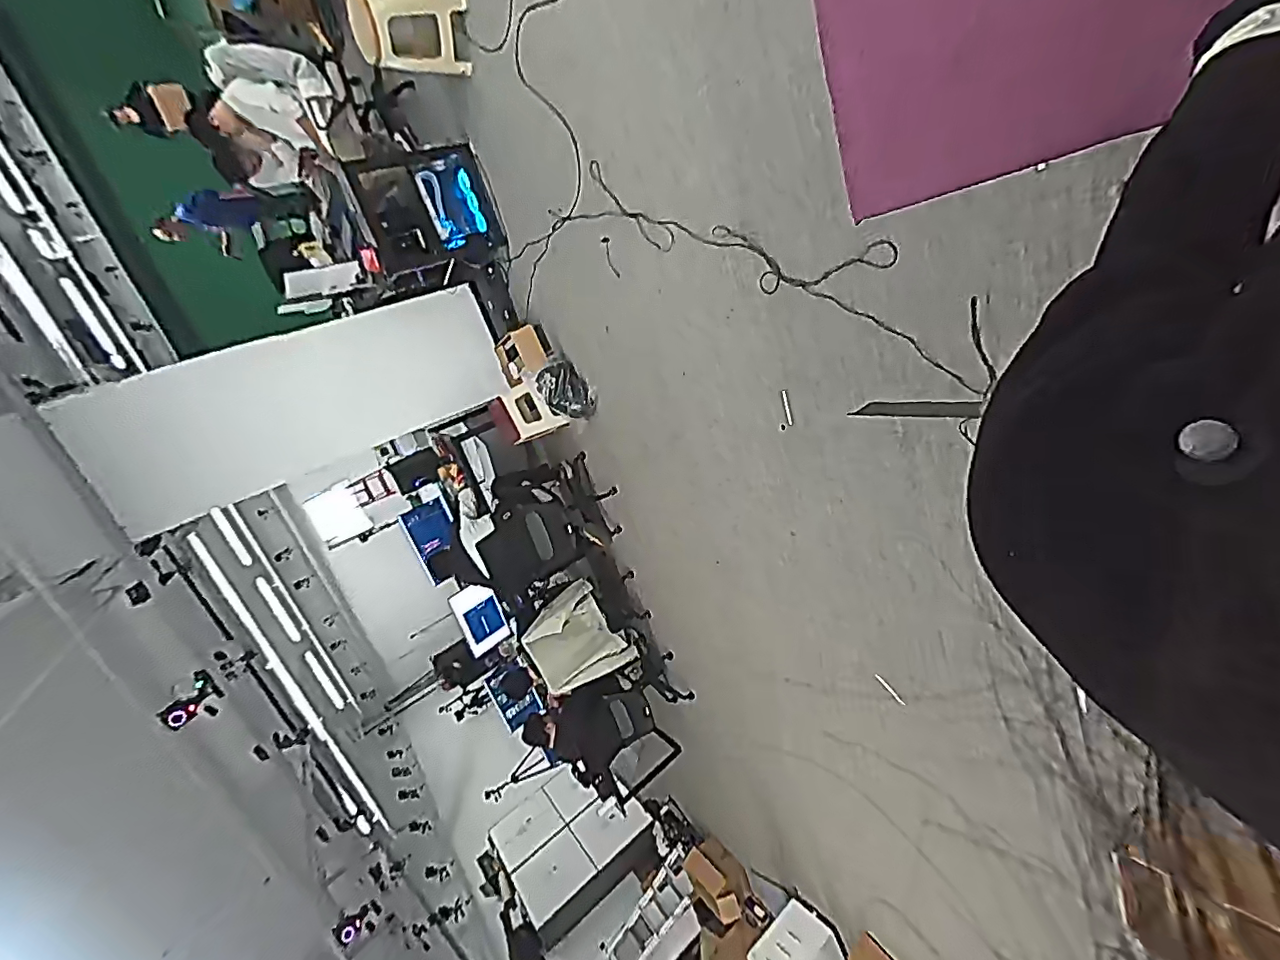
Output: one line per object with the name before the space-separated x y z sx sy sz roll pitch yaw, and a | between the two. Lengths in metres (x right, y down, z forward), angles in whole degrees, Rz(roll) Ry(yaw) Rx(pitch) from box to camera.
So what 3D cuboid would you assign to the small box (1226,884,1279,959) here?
small box | 1.677 1.221 1.406 0.168 0.176 0.179 -4 113 59
